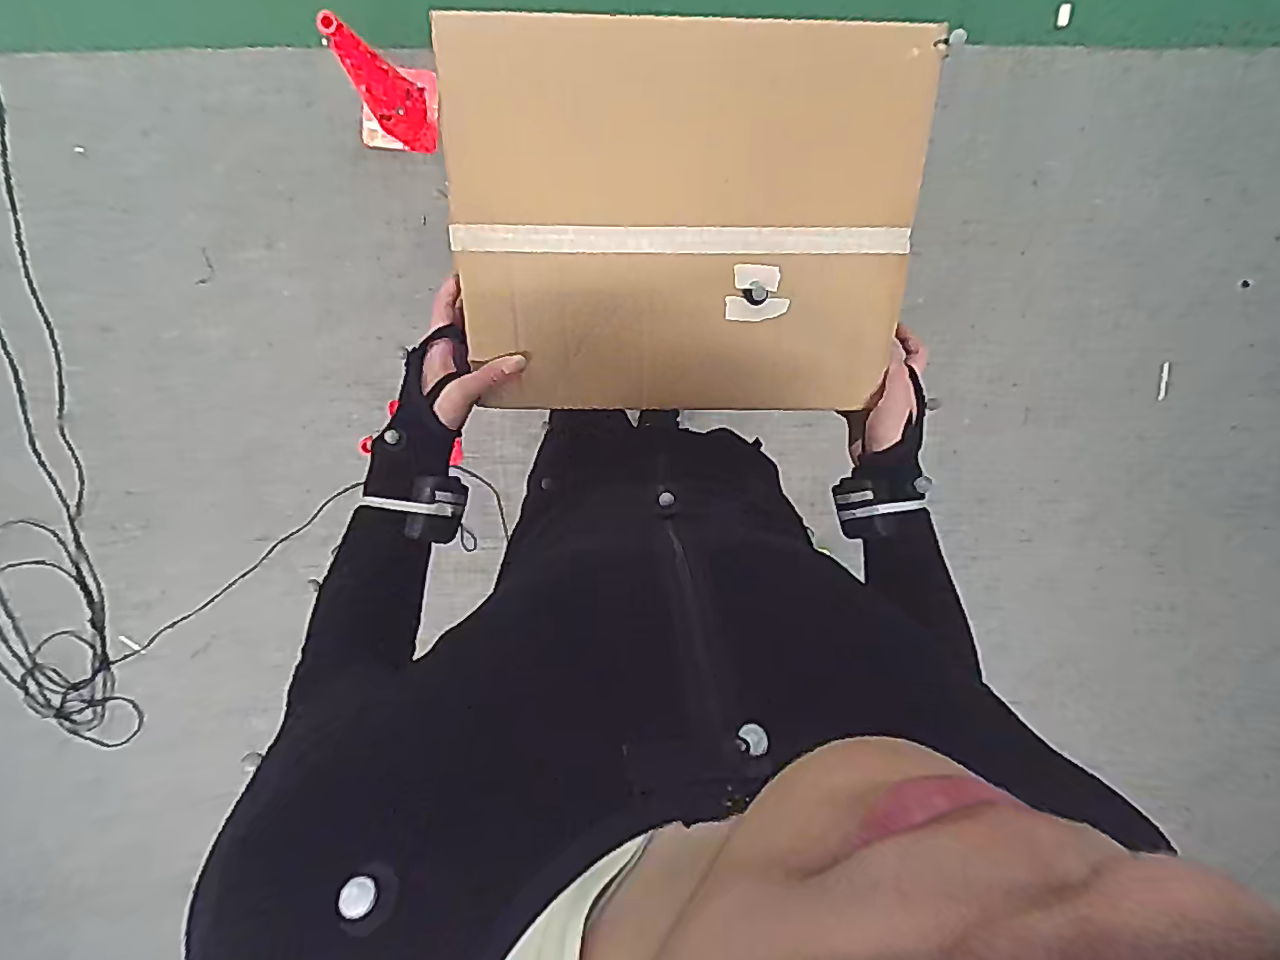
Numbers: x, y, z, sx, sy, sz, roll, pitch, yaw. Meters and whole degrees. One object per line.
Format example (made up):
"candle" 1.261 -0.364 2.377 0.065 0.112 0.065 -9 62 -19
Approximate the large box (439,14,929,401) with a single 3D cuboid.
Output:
"large box" 0.032 -0.281 0.624 0.408 0.320 0.320 0 113 -2

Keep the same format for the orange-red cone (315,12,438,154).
"orange-red cone" -0.645 -0.954 1.268 0.199 0.360 0.198 7 99 -1
